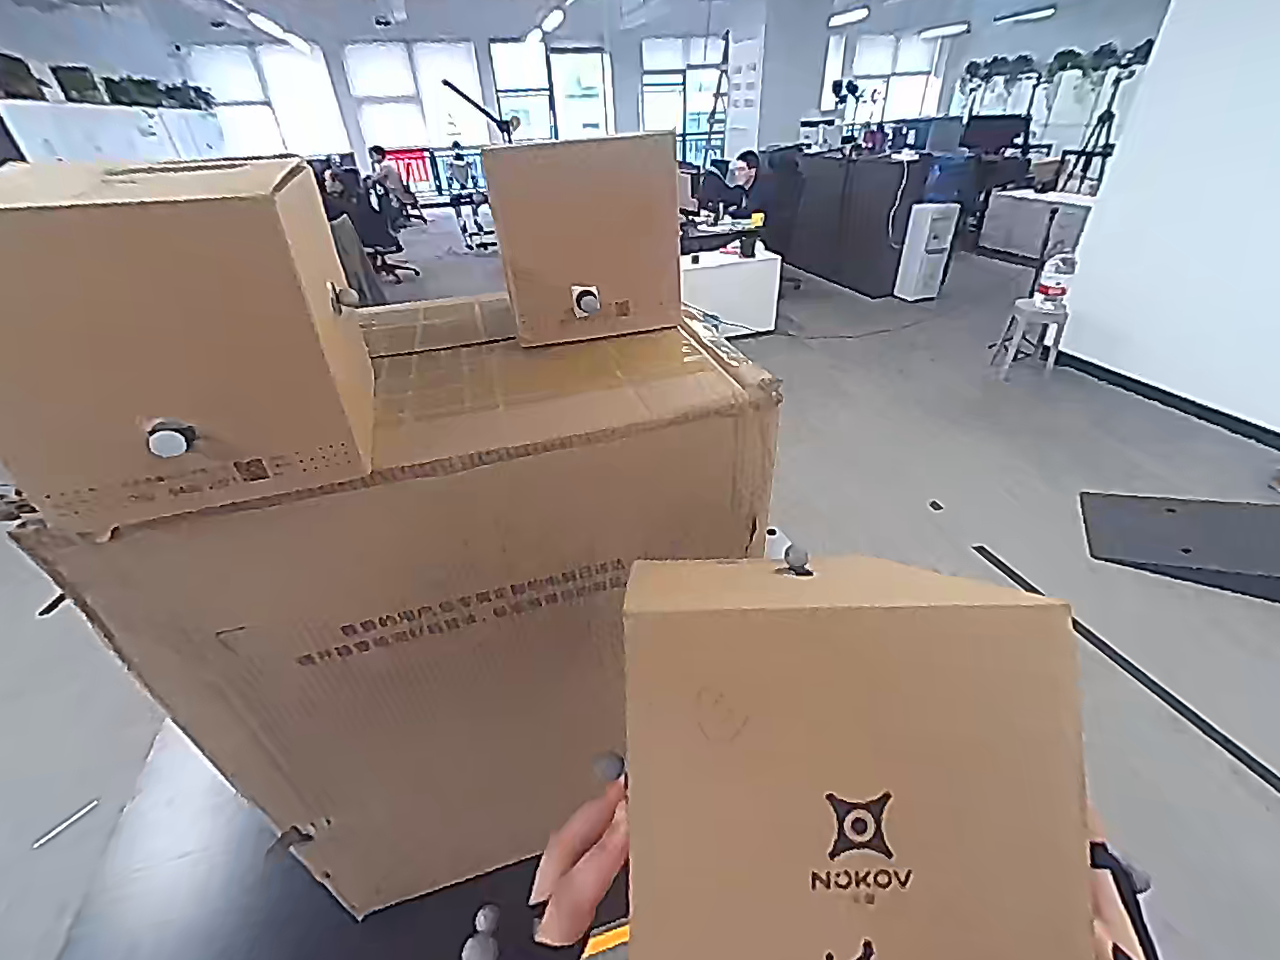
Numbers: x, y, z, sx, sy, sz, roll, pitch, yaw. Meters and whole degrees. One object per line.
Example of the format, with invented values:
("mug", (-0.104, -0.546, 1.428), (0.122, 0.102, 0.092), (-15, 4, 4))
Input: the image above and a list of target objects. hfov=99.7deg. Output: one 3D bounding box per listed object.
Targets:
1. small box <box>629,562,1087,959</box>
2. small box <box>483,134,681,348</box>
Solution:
("small box", (0.078, 0.134, 0.278), (0.168, 0.179, 0.176), (0, -4, 1))
("small box", (-0.062, -0.249, 0.558), (0.168, 0.176, 0.179), (-12, 34, -10))
